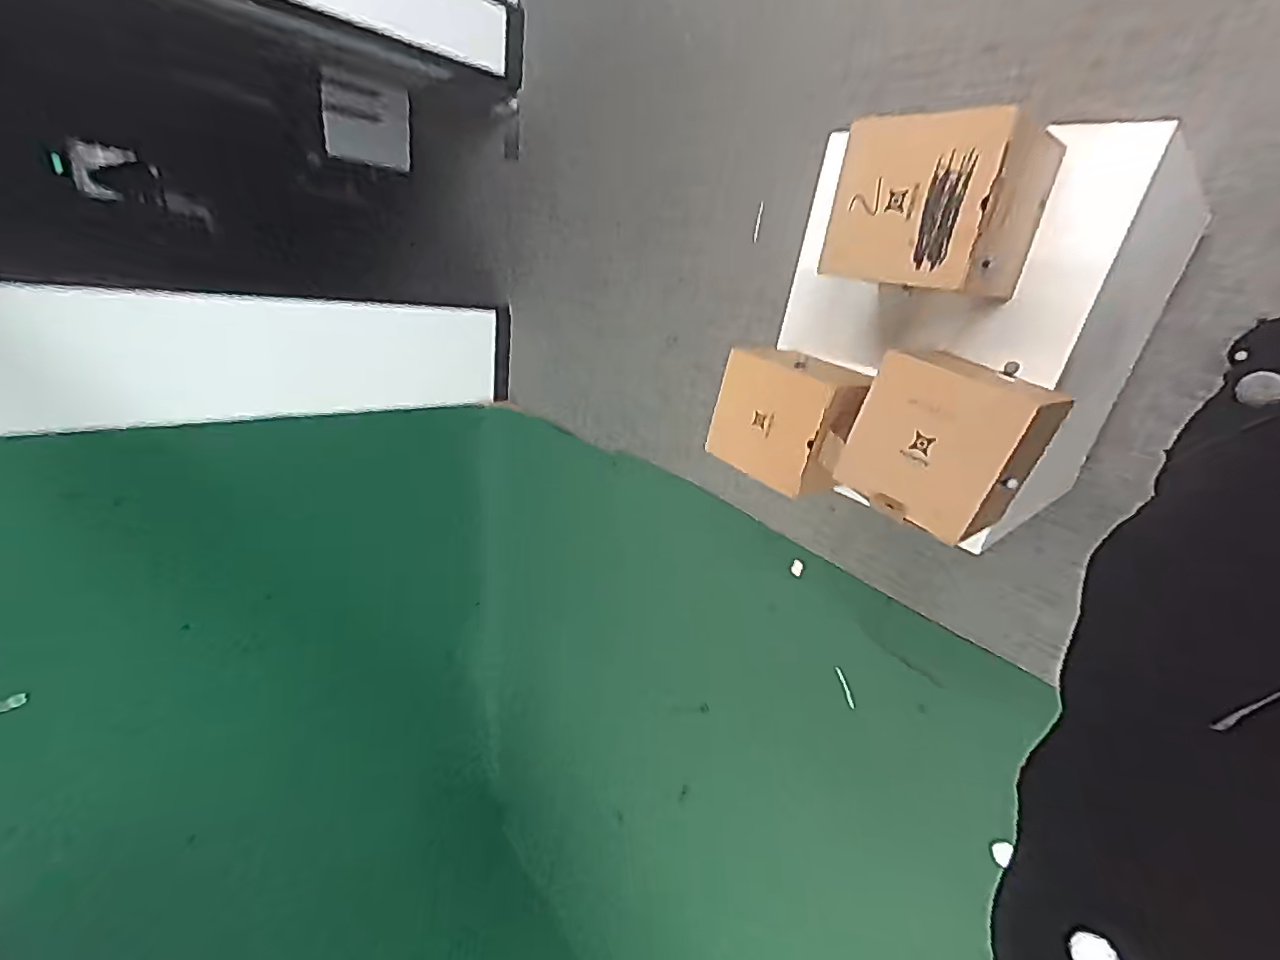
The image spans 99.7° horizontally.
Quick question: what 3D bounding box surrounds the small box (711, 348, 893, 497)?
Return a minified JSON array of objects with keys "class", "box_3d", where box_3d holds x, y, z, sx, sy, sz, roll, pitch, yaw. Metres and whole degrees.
[{"class":"small box","box_3d":[0.242,-0.092,0.818,0.179,0.176,0.168,33,121,39]}]
